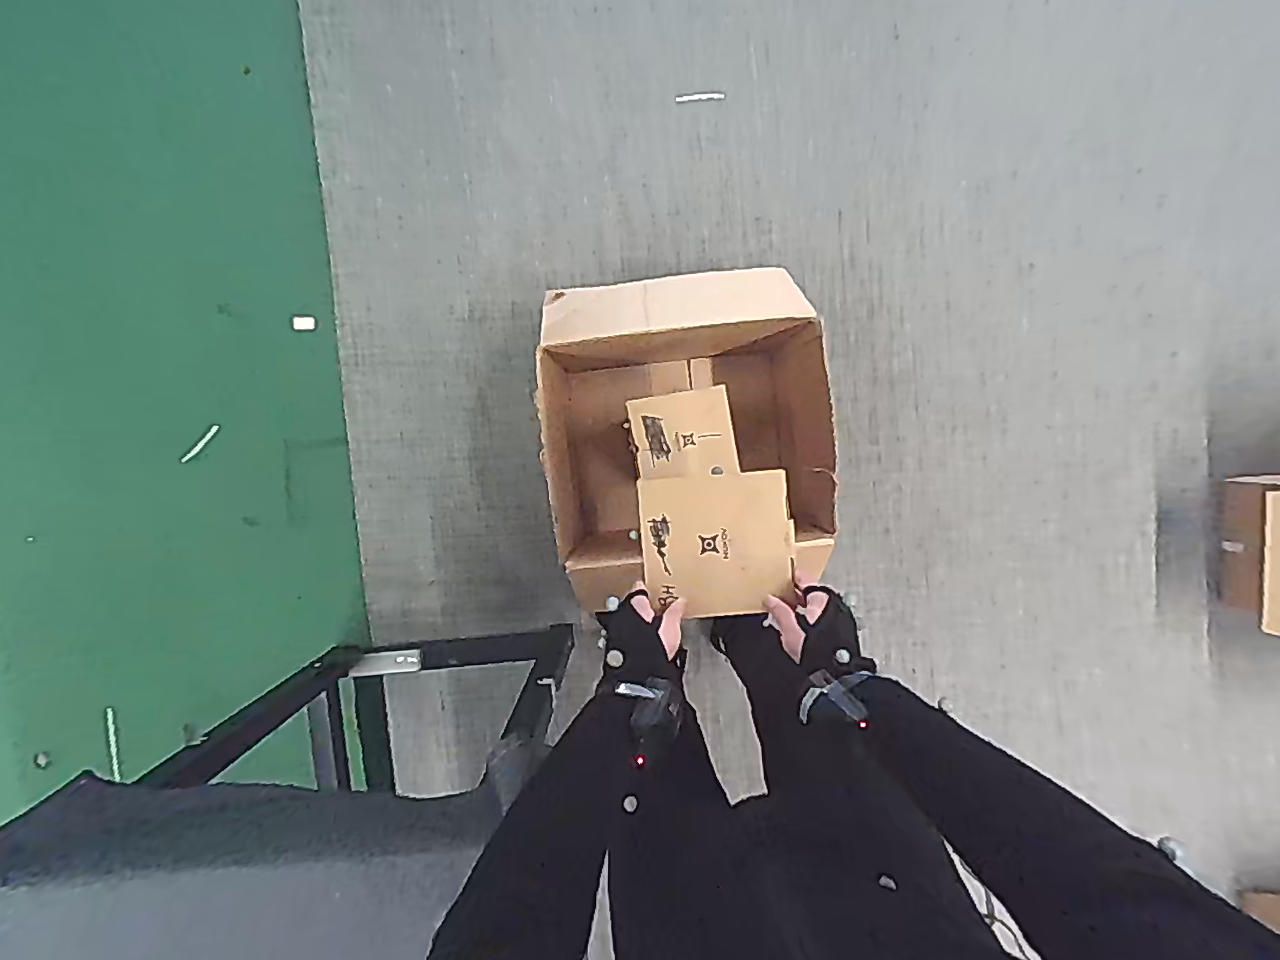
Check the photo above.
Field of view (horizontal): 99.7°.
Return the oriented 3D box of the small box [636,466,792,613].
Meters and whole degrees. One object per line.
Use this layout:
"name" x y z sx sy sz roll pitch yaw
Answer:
"small box" 0.090 0.073 0.729 0.179 0.176 0.168 -6 87 2
